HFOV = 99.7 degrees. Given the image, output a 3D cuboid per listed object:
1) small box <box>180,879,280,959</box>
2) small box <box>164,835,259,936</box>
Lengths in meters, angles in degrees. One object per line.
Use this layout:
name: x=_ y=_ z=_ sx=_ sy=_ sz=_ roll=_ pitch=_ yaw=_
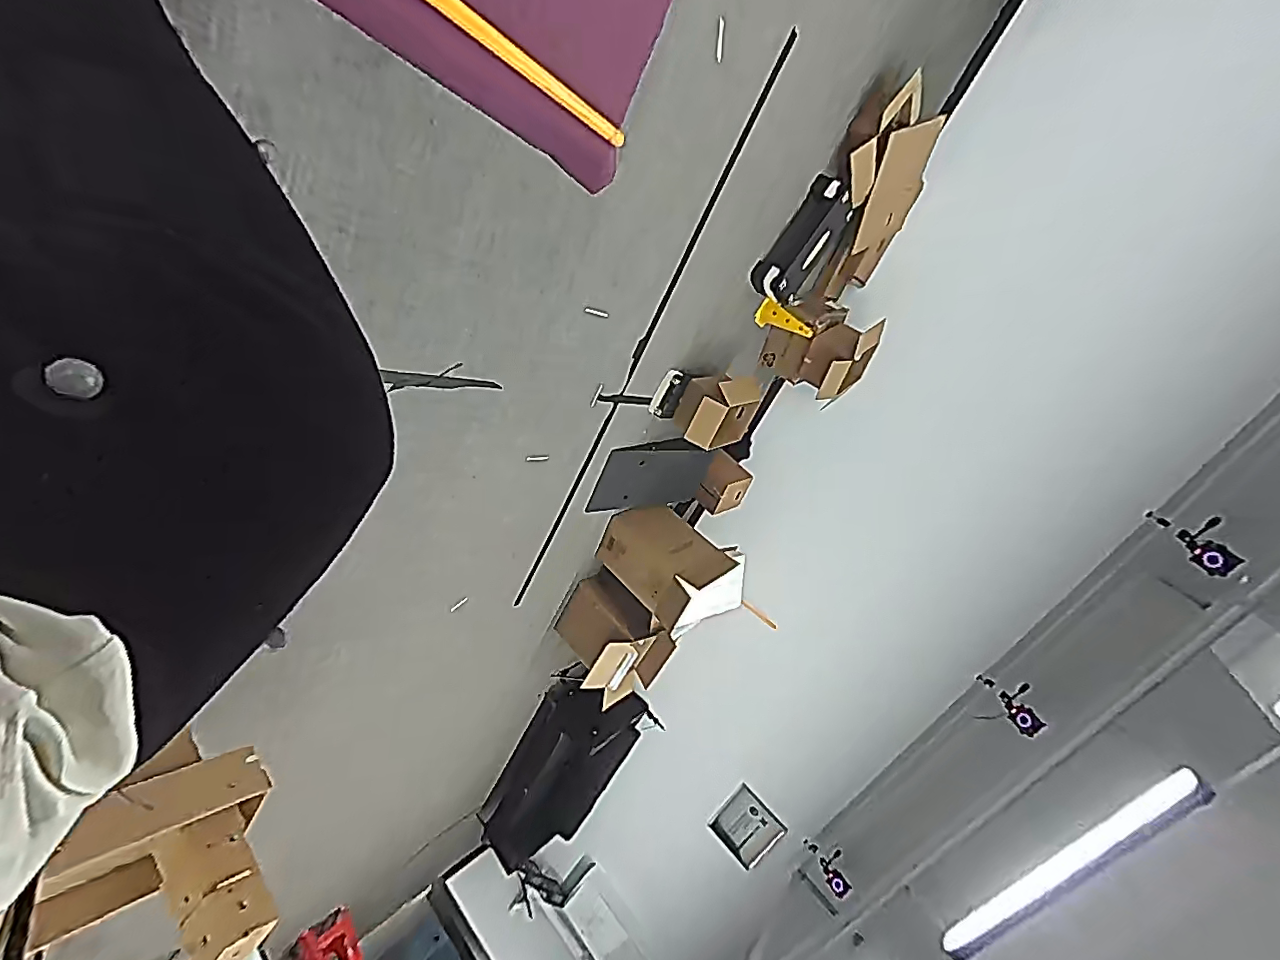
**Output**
small box: x=-1.269 y=1.382 z=1.667 sx=0.179 sy=0.176 sz=0.168 roll=-51 pitch=155 yaw=5
small box: x=-1.383 y=1.288 z=1.740 sx=0.179 sy=0.176 sz=0.168 roll=-52 pitch=155 yaw=9
